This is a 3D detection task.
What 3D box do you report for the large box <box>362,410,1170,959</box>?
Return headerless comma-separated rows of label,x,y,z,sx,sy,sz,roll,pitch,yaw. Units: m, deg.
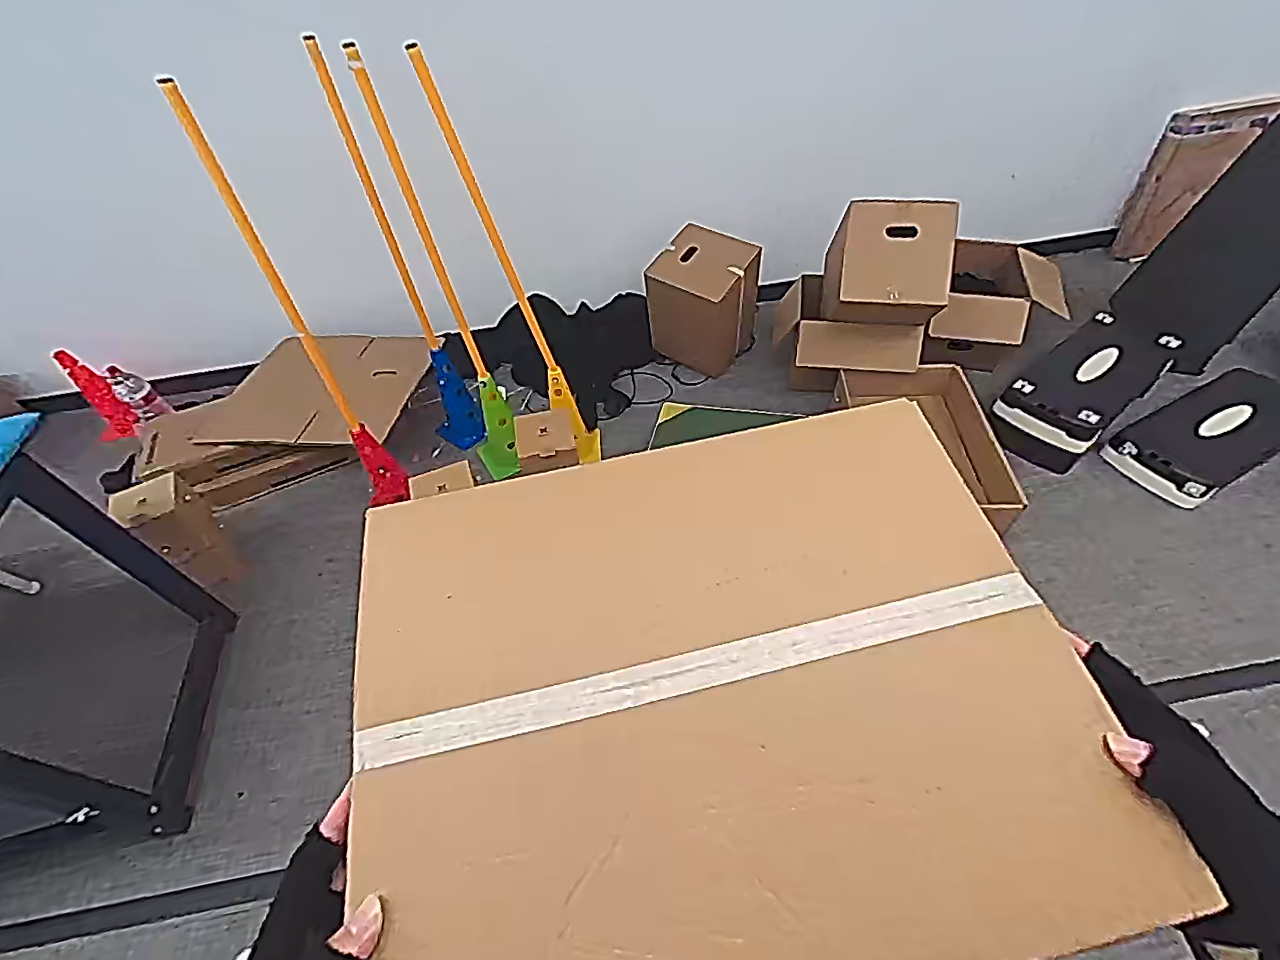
large box,0.046,0.190,0.451,0.408,0.320,0.320,-12,59,-4
